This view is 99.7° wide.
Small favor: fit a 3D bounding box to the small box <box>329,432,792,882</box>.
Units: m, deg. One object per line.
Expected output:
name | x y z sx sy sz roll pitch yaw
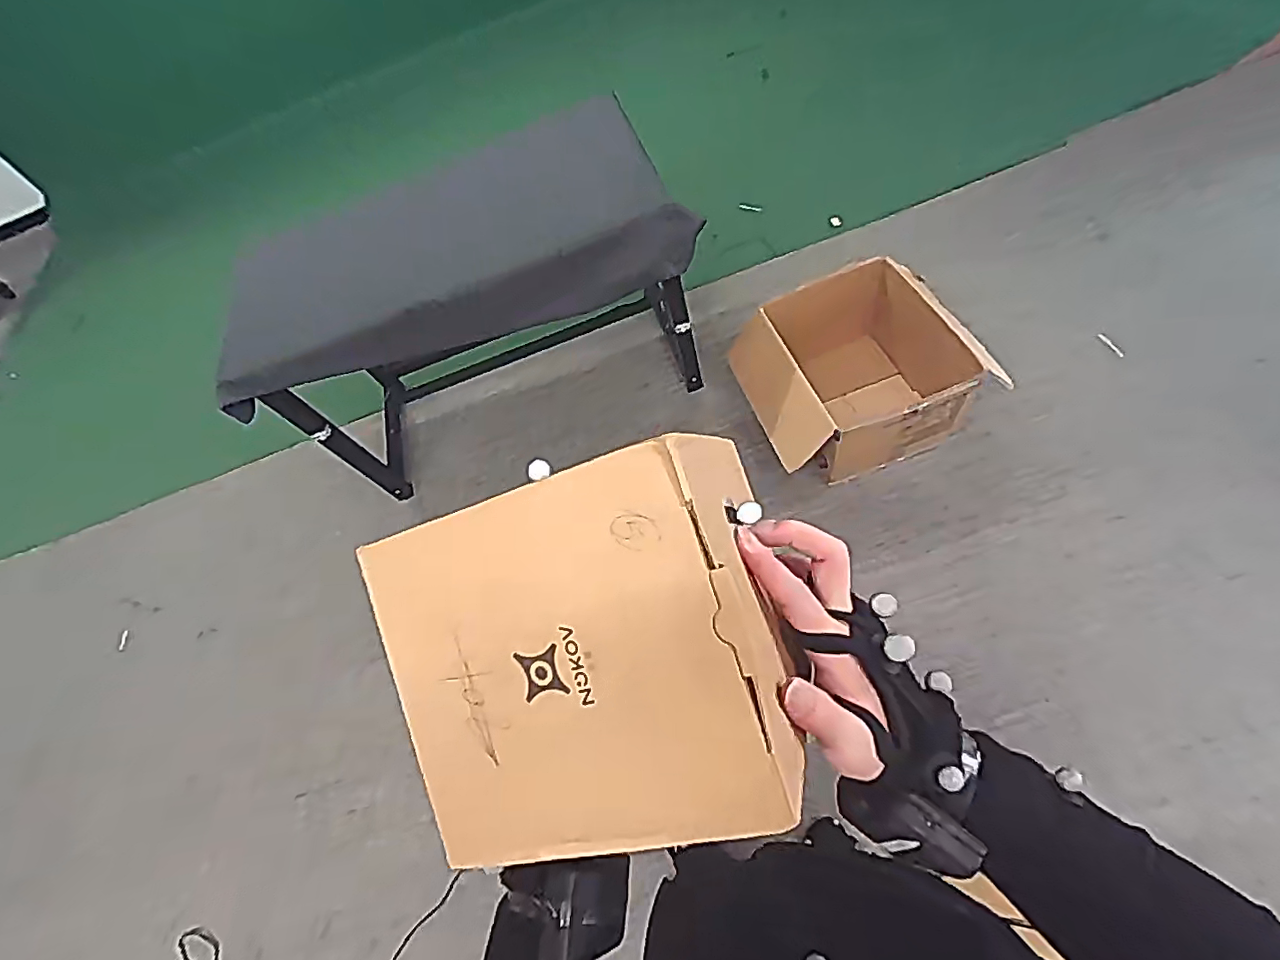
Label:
small box | -0.023 0.079 0.304 0.179 0.176 0.168 -20 85 20
